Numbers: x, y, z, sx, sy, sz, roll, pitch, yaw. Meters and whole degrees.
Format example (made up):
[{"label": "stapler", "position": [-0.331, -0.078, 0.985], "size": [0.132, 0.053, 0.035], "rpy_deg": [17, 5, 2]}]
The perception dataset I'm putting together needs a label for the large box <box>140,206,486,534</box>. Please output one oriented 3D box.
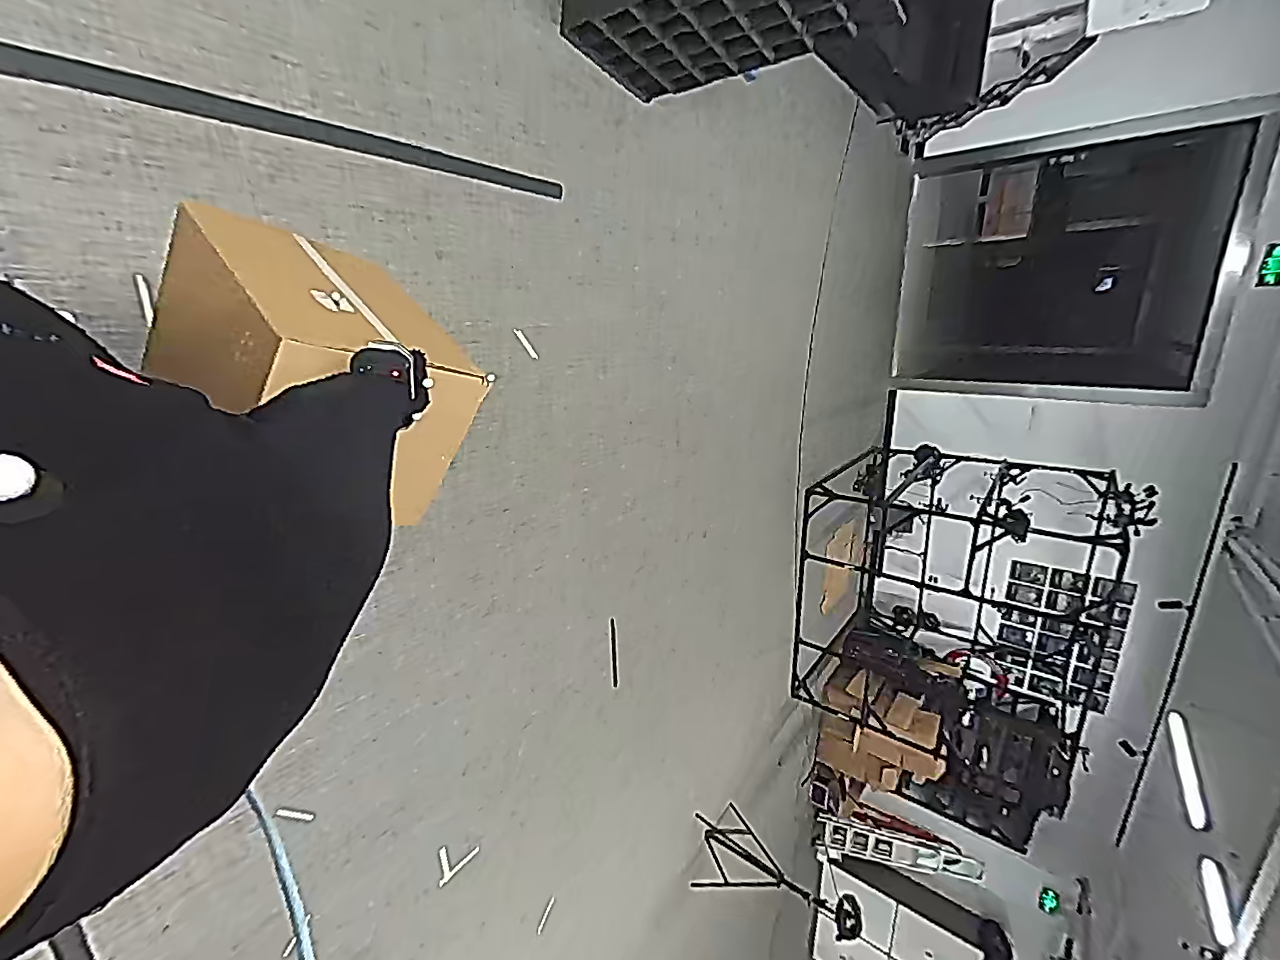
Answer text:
[{"label": "large box", "position": [-0.543, -0.164, 0.894], "size": [0.320, 0.408, 0.320], "rpy_deg": [0, 129, -57]}]
